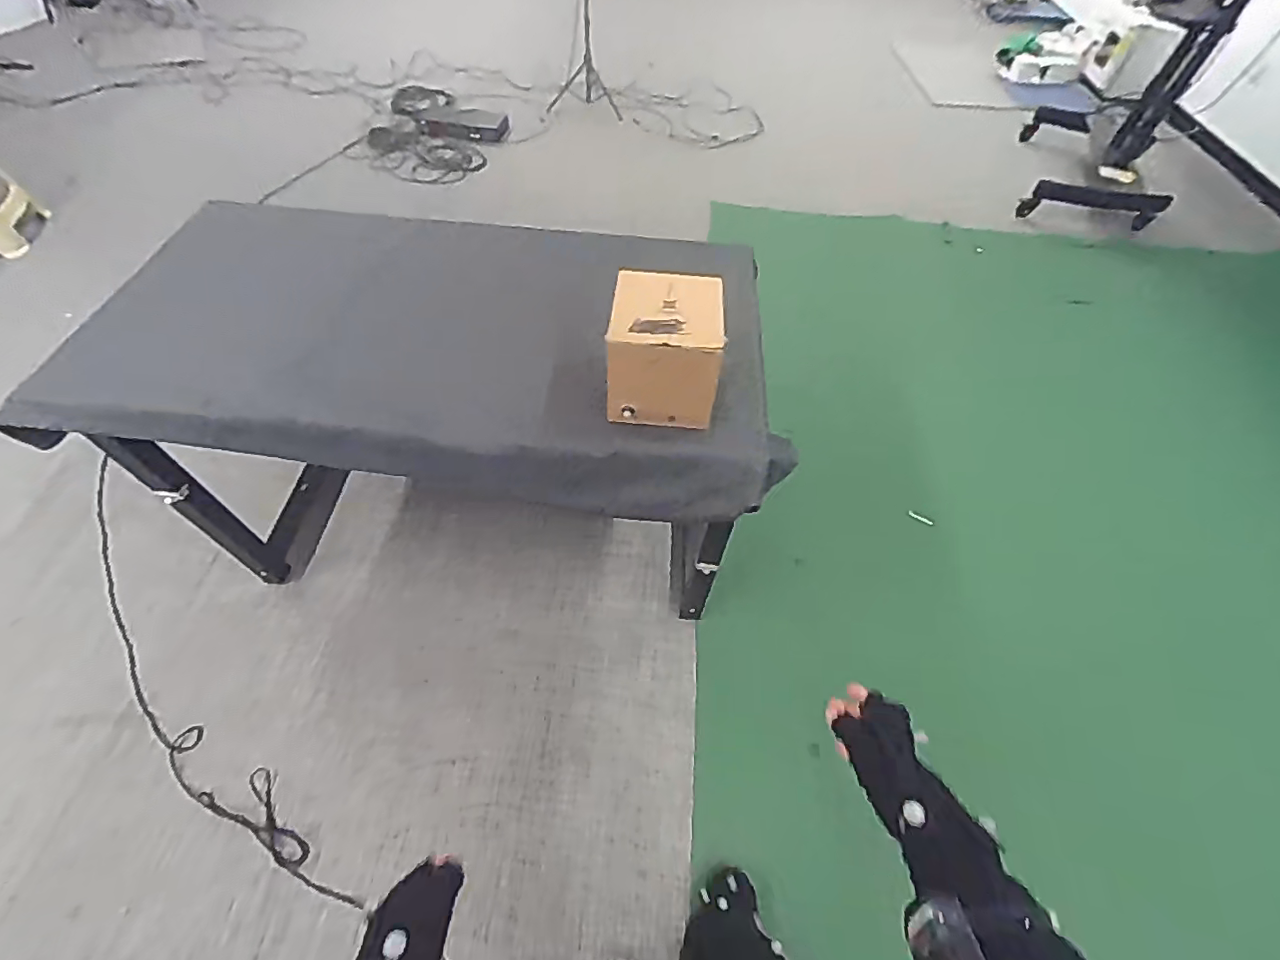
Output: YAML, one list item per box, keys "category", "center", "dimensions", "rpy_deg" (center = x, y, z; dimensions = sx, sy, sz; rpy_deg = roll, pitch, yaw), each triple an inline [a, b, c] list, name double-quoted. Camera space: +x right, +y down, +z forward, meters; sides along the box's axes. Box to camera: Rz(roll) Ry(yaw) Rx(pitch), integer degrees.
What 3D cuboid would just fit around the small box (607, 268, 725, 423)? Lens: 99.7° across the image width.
- category: "small box"
  center: [0.041, -0.210, 0.864]
  dimensions: [0.168, 0.176, 0.179]
  rpy_deg: [5, 53, 1]
